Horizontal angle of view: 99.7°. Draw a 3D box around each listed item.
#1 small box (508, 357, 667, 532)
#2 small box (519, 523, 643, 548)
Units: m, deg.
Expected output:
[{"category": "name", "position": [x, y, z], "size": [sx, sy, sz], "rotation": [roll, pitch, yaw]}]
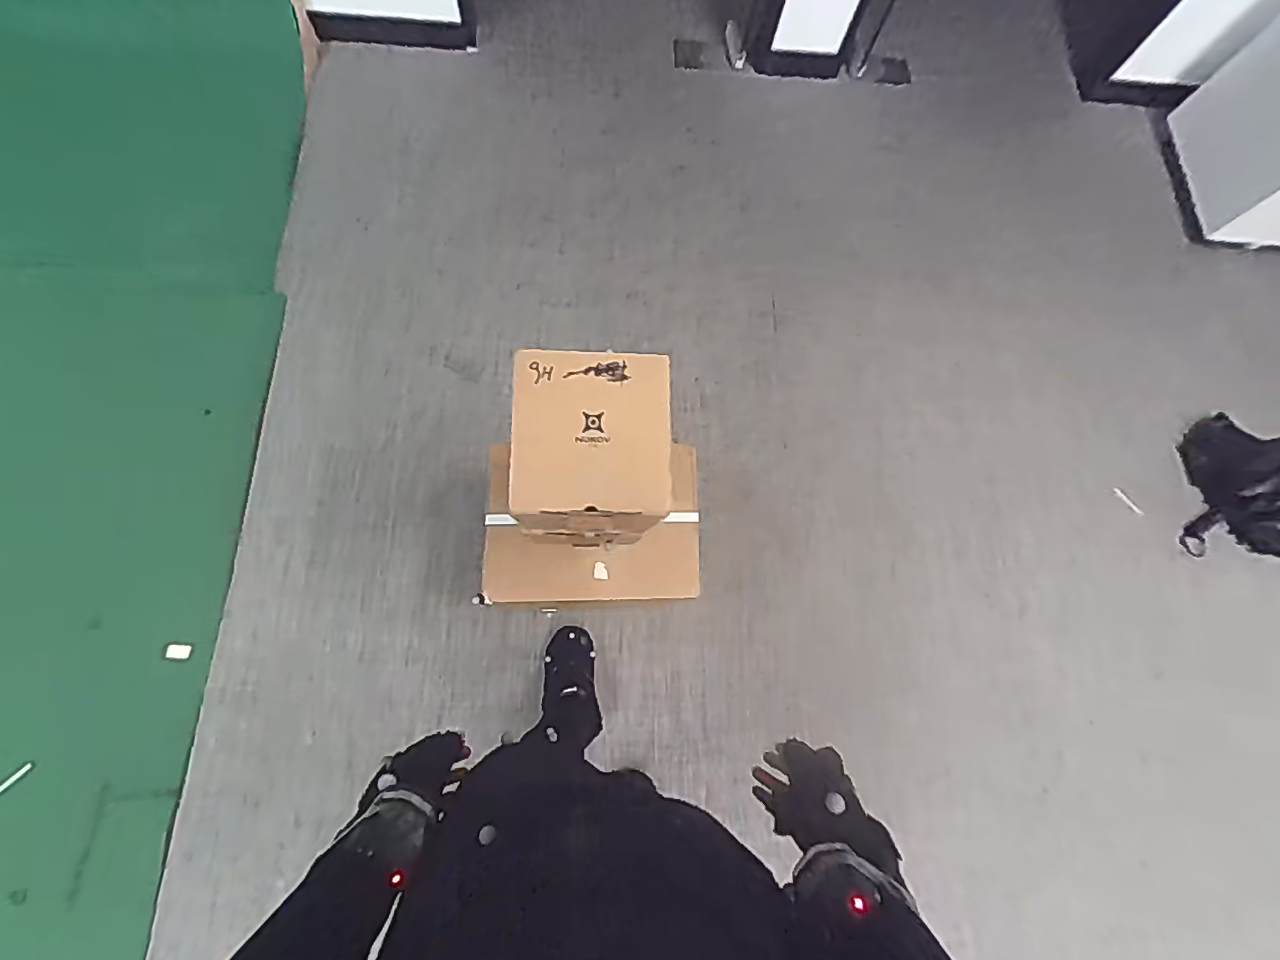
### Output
[{"category": "small box", "position": [-0.060, -0.030, 0.645], "size": [0.168, 0.176, 0.179], "rotation": [1, 80, -6]}, {"category": "small box", "position": [-0.084, 0.009, 0.802], "size": [0.168, 0.176, 0.179], "rotation": [1, 78, -7]}]
